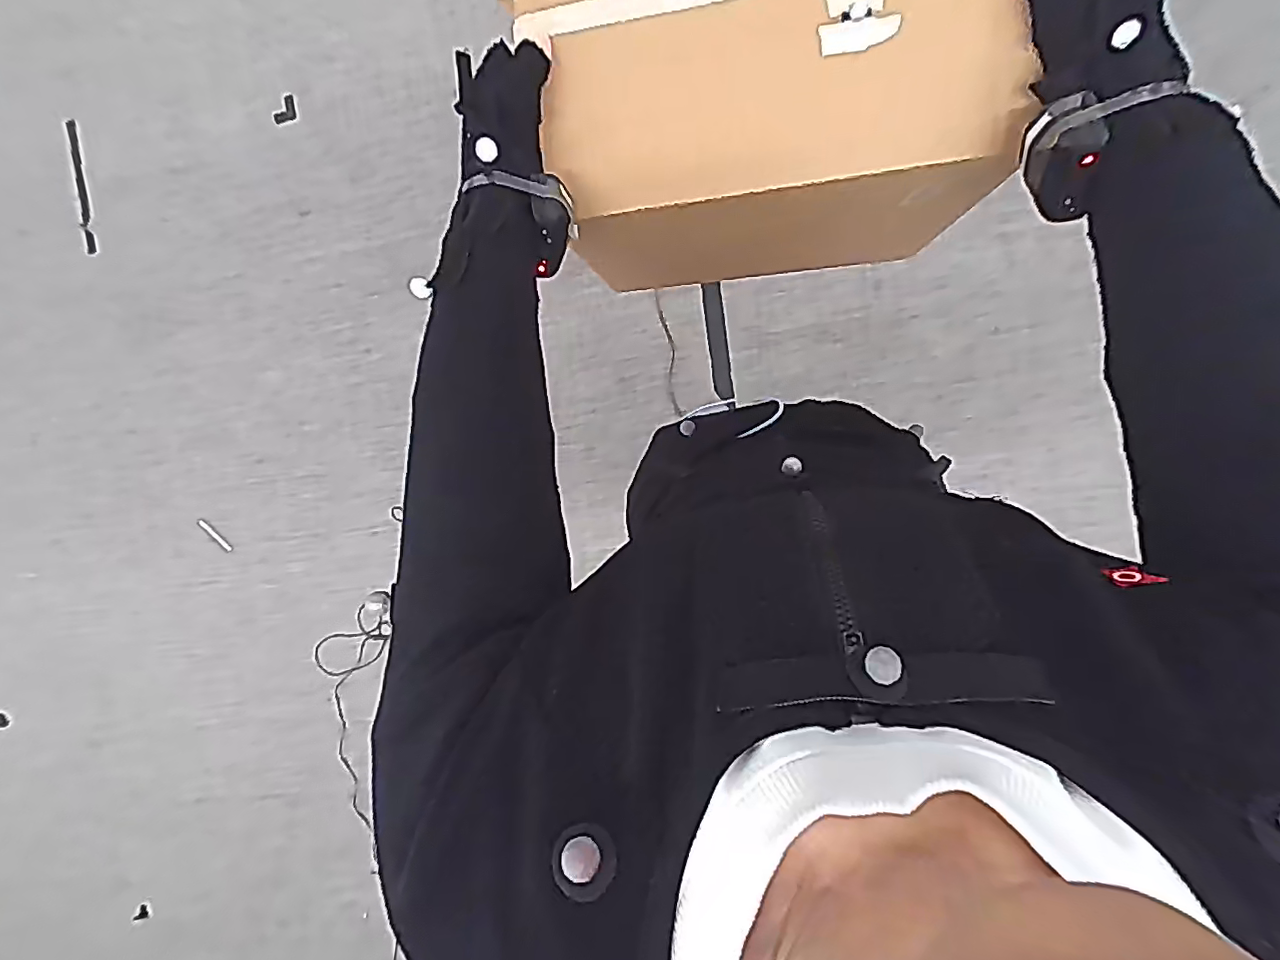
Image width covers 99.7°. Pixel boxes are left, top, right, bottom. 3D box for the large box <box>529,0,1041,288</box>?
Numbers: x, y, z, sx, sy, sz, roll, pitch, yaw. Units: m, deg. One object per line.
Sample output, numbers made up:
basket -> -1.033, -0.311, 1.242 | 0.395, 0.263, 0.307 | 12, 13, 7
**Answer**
large box -> 0.122, -0.420, 0.580 | 0.408, 0.320, 0.320 | -4, 97, 9
